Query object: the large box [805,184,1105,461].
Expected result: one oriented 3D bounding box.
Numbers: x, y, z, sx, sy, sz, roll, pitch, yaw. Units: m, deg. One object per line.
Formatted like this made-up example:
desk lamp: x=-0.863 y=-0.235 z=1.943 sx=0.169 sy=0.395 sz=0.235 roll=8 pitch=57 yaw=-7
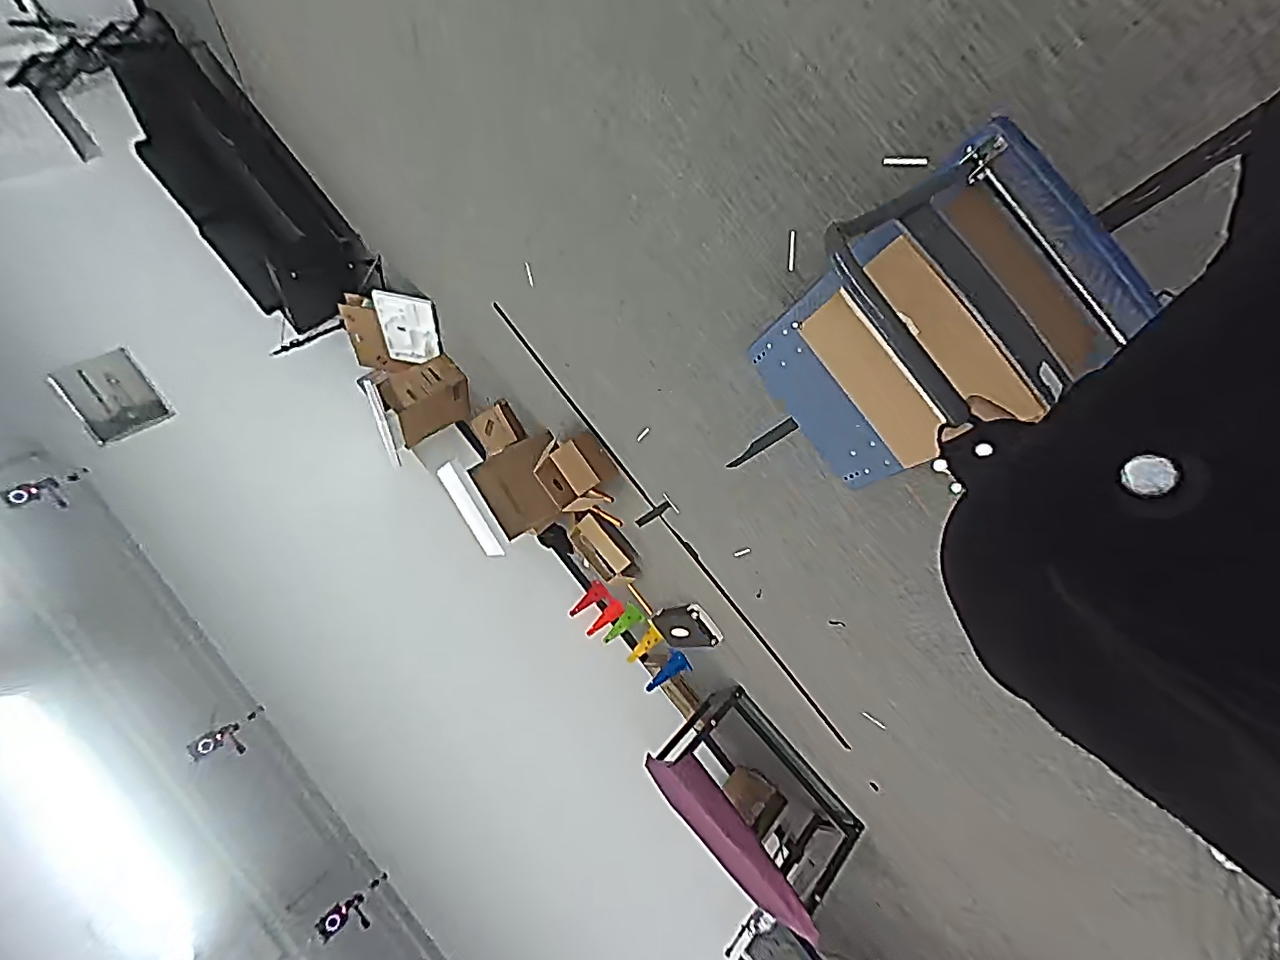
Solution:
large box: x=0.649 y=-0.319 z=1.138 sx=0.408 sy=0.320 sz=0.320 roll=53 pitch=151 yaw=2
